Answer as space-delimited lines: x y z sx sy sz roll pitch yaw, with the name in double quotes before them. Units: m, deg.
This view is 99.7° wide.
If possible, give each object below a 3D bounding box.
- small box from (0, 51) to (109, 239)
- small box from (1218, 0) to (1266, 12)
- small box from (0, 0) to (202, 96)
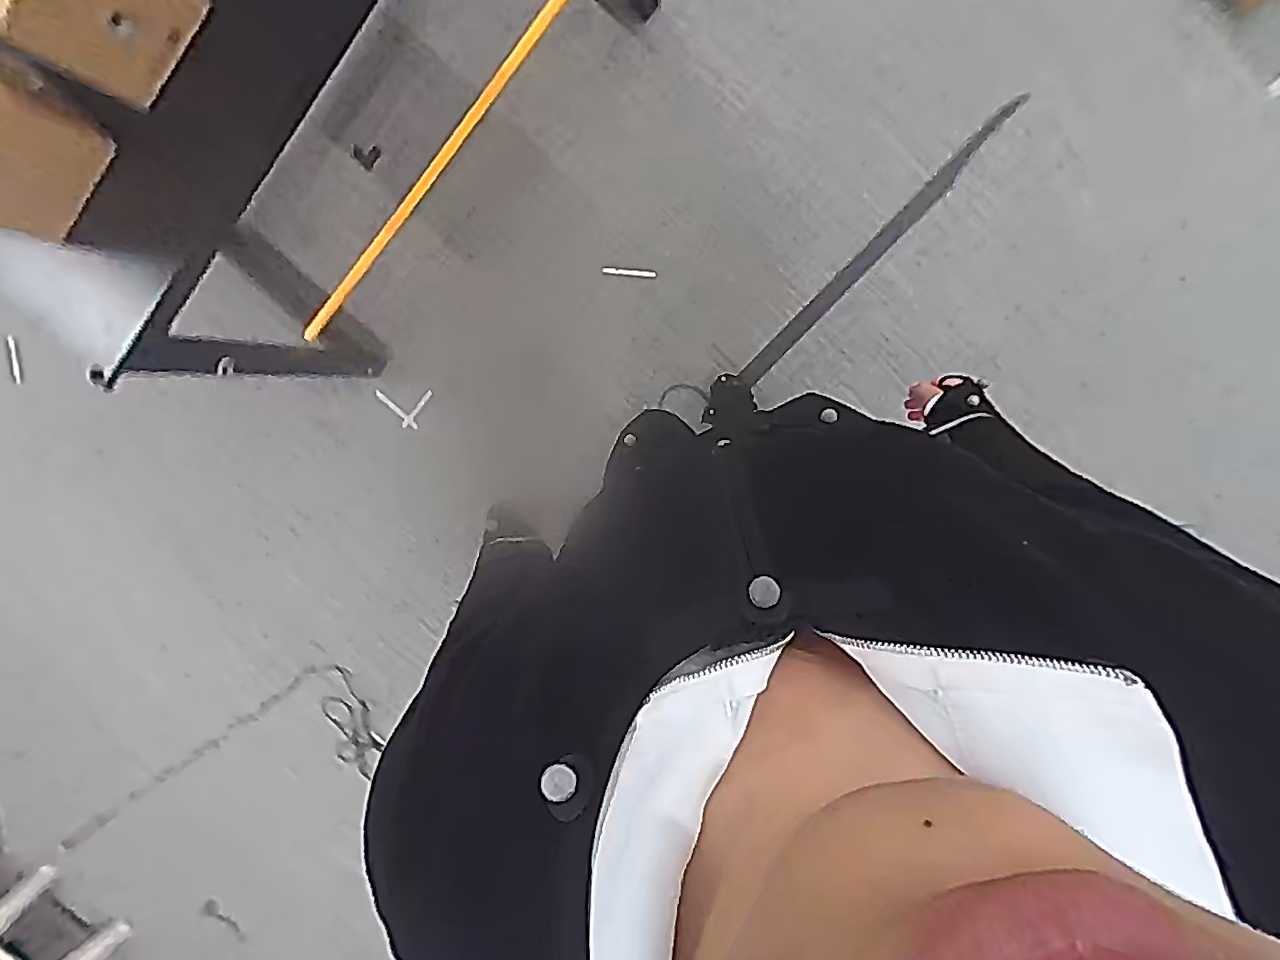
"small box" -0.843 -0.439 0.678 0.168 0.176 0.179 43 100 -3
"small box" 1.305 -1.114 1.096 0.179 0.176 0.168 42 101 -3
"small box" -0.681 -0.601 0.635 0.179 0.176 0.168 44 101 -4
